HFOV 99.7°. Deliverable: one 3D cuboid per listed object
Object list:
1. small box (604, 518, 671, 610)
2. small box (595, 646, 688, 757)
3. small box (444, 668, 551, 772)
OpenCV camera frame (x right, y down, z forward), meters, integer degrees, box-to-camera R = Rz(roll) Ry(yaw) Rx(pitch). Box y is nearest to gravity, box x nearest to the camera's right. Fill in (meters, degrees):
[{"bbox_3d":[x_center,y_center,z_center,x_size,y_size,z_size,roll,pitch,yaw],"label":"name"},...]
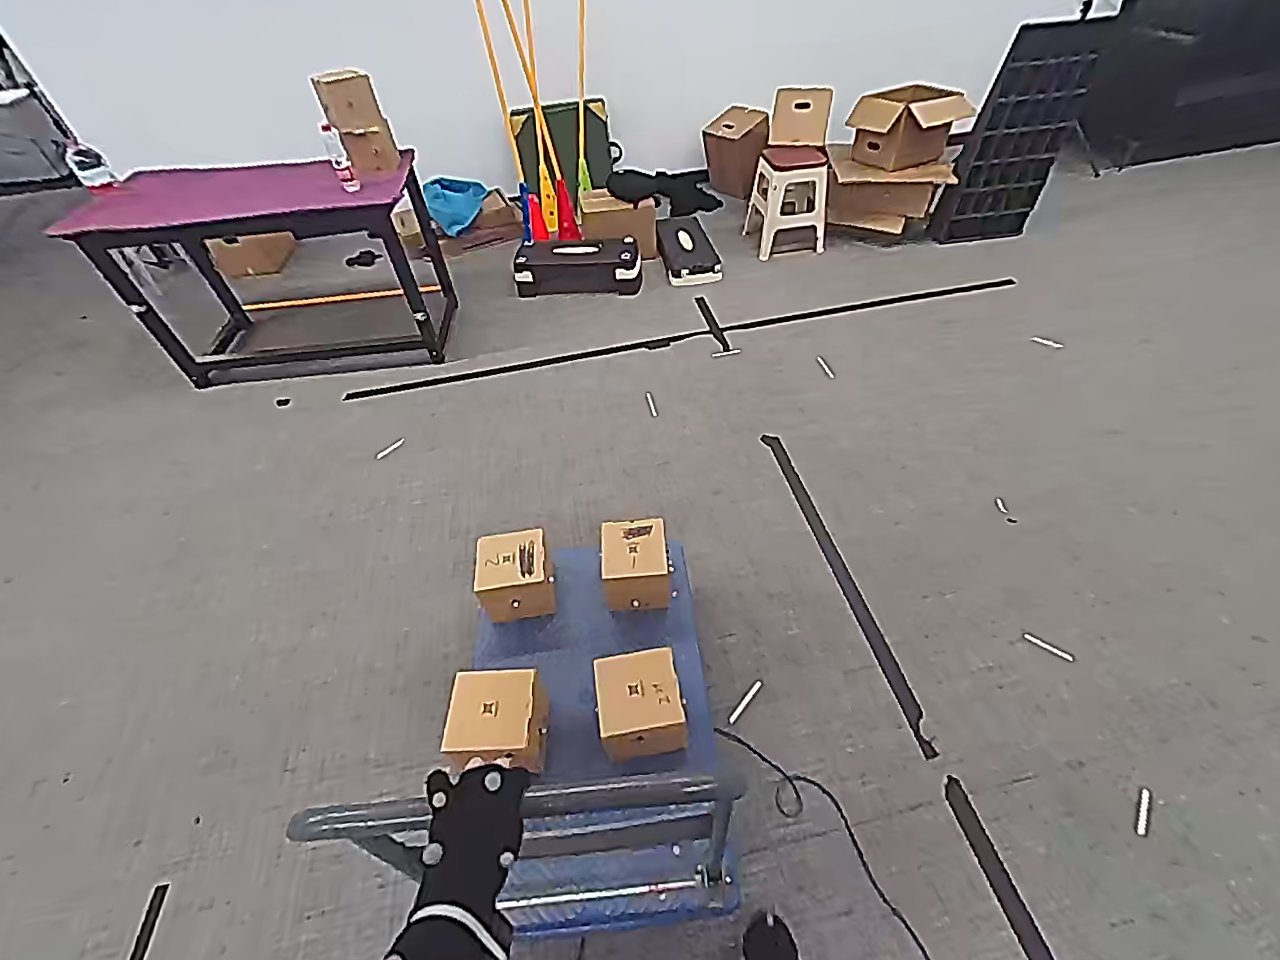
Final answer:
[{"bbox_3d":[-0.007,0.223,1.436,0.168,0.176,0.179,-5,49,1],"label":"small box"},{"bbox_3d":[0.005,0.492,1.191,0.179,0.176,0.168,-9,48,-3],"label":"small box"},{"bbox_3d":[-0.302,0.529,1.185,0.179,0.176,0.168,-3,47,1],"label":"small box"}]
